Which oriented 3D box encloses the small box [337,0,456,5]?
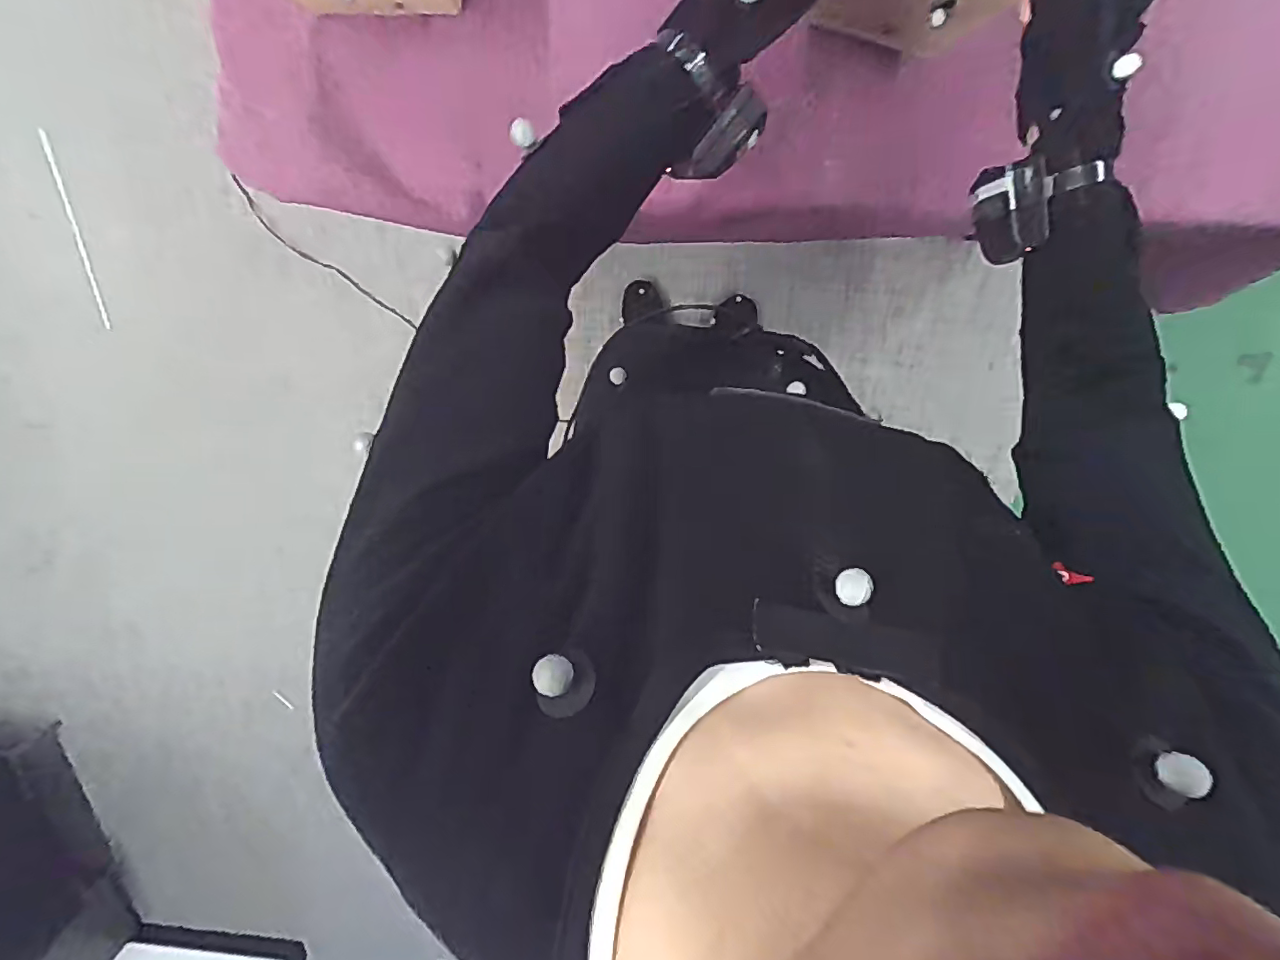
[{"bbox_3d":[-0.268,-0.553,0.471,0.168,0.176,0.179,3,112,4],"label":"small box"}]

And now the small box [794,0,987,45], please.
[{"bbox_3d":[0.222,-0.478,0.411,0.168,0.176,0.179,9,110,-8],"label":"small box"}]
